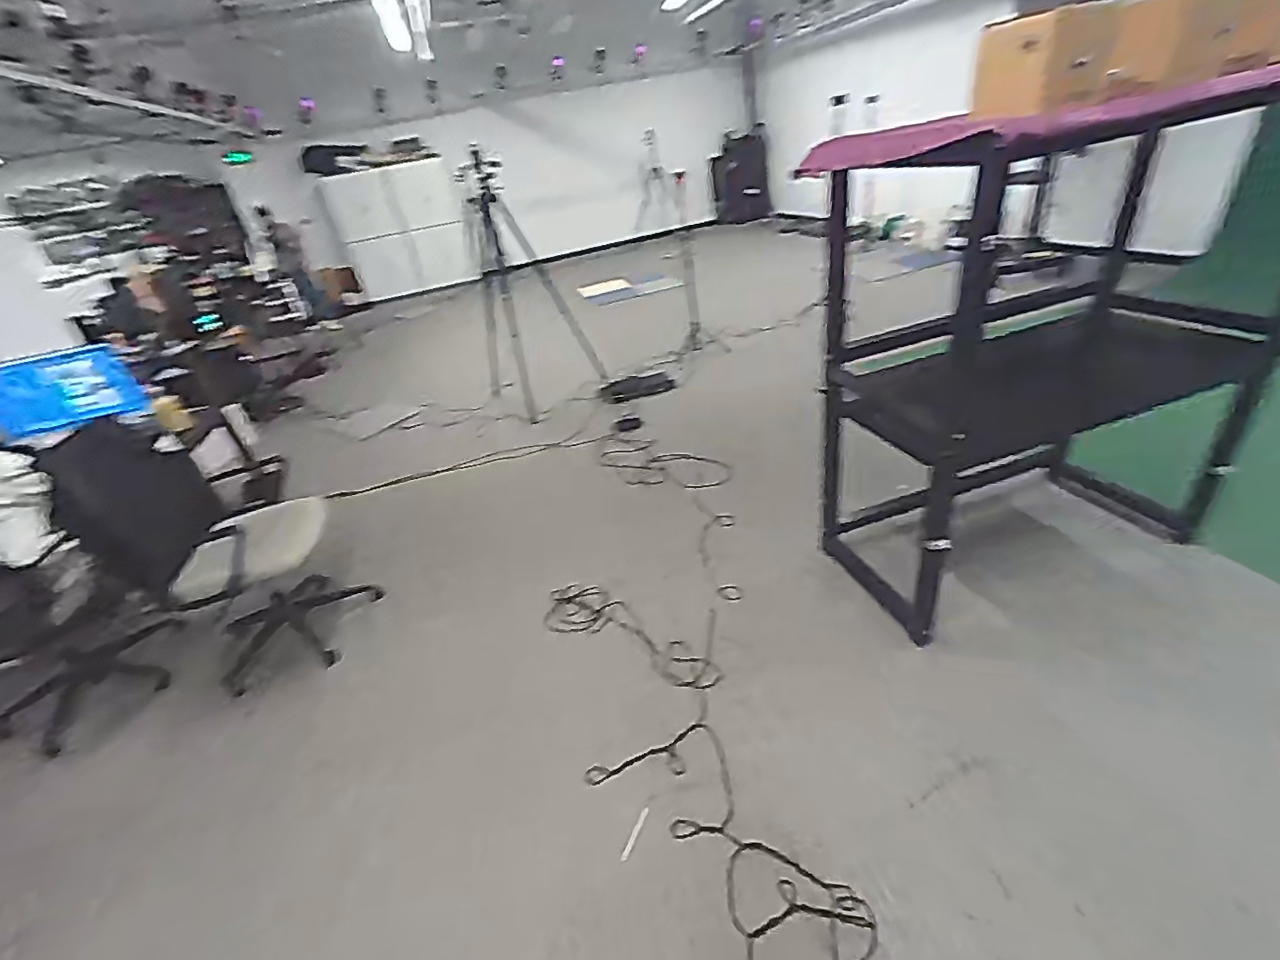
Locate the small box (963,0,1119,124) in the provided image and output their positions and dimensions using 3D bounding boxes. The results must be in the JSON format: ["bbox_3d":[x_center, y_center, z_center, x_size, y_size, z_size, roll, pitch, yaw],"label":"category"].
[{"bbox_3d":[0.800,-0.840,1.100,0.168,0.176,0.179,-16,33,-11],"label":"small box"}]

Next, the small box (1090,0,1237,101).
[{"bbox_3d":[1.102,-0.932,1.162,0.179,0.176,0.168,-18,32,-10],"label":"small box"}]

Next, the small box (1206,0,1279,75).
[{"bbox_3d":[1.424,-1.046,1.238,0.179,0.176,0.168,-16,30,-8],"label":"small box"}]
